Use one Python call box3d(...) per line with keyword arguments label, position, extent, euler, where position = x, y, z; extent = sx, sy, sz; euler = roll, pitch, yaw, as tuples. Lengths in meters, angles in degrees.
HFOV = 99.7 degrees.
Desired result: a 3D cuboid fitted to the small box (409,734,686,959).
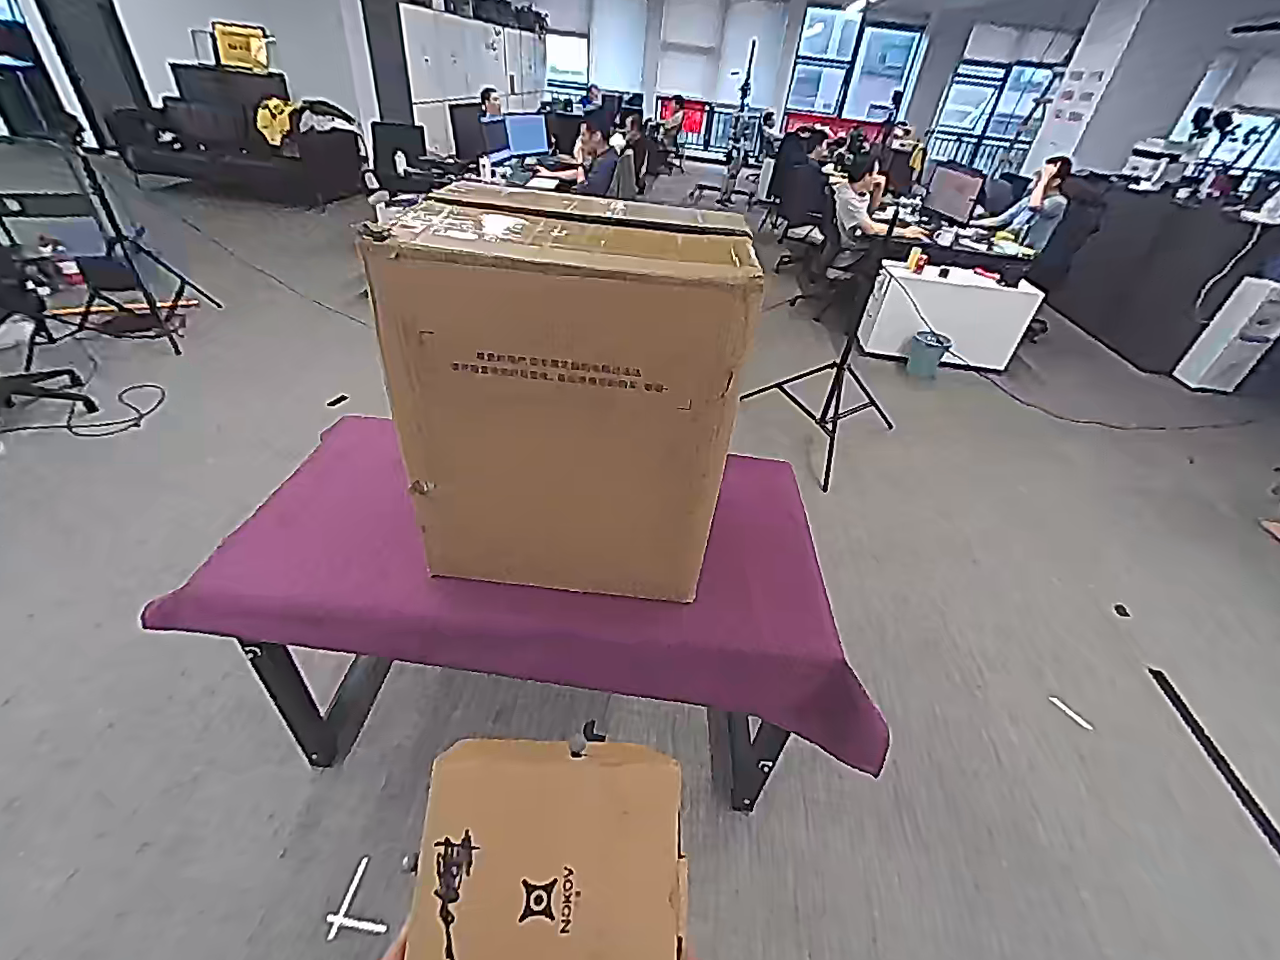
box3d(label="small box", position=(-0.072, 0.296, 0.426), extent=(0.179, 0.176, 0.168), euler=(6, 66, -11))
